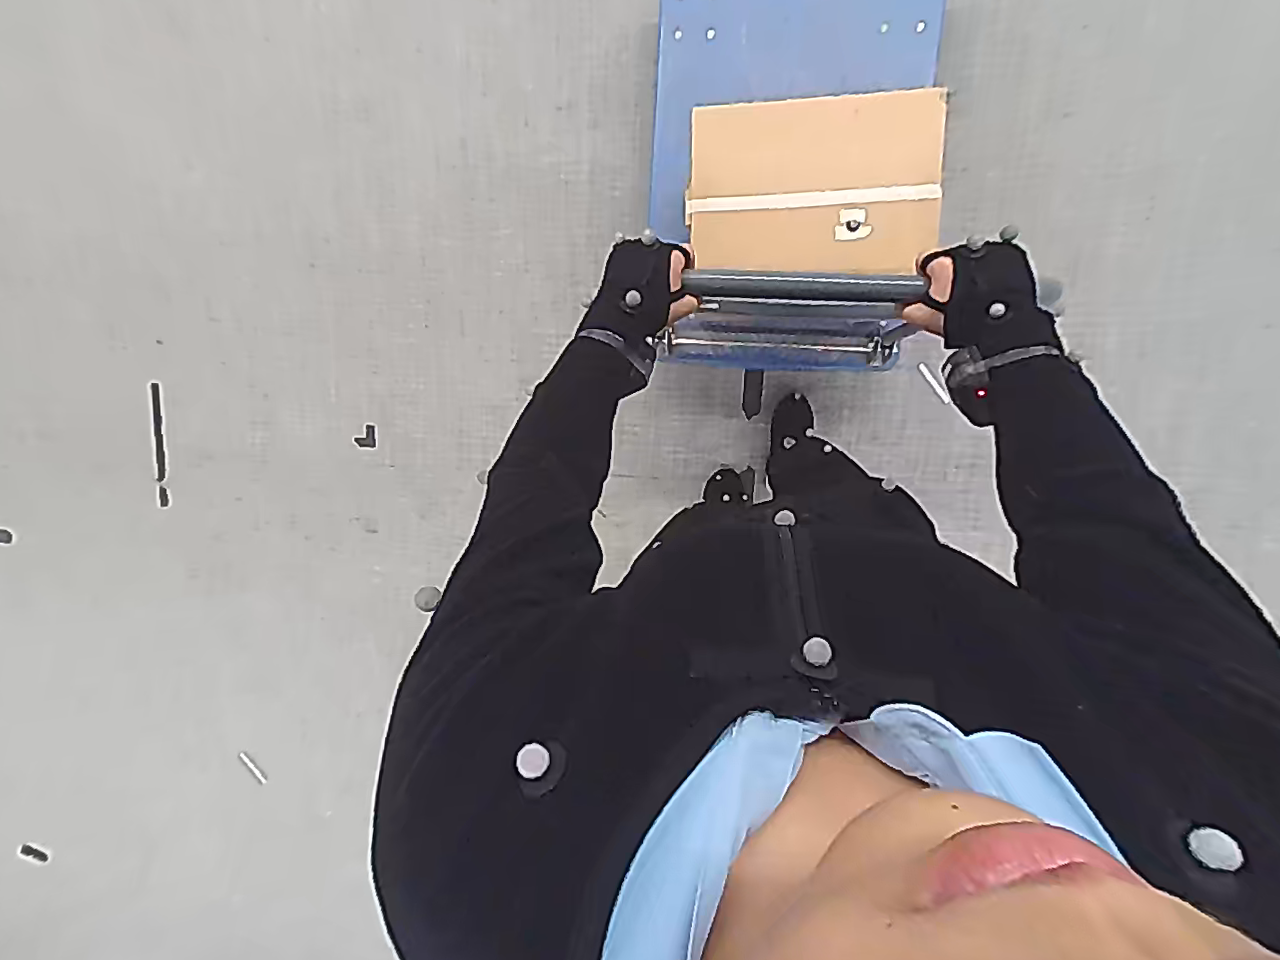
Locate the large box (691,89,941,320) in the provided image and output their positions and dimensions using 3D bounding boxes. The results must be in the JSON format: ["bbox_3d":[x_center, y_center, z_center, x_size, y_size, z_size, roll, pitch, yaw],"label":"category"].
[{"bbox_3d":[0.308,-0.500,1.062,0.408,0.320,0.320,0,100,7],"label":"large box"}]
